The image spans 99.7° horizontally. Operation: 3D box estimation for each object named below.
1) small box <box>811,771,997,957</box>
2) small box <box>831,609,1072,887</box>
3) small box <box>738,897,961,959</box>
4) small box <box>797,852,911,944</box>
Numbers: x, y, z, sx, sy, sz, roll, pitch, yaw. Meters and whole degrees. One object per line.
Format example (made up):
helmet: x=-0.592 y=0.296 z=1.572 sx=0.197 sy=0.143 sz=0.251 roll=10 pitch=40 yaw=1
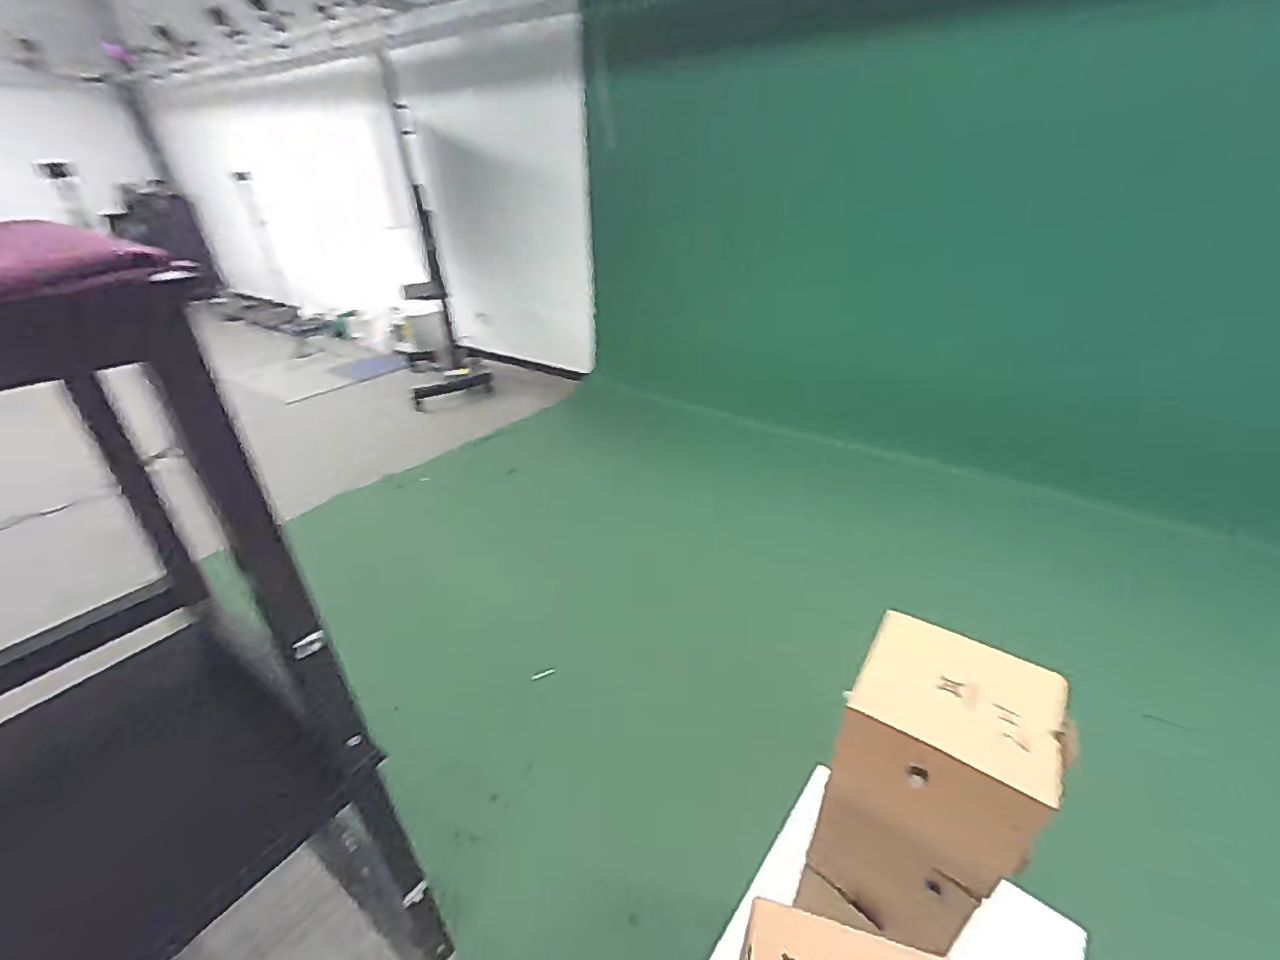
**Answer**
small box: x=0.331 y=0.419 z=0.661 sx=0.179 sy=0.176 sz=0.168 roll=26 pitch=39 yaw=36
small box: x=0.322 y=0.278 z=0.578 sx=0.179 sy=0.176 sz=0.168 roll=20 pitch=37 yaw=30
small box: x=0.140 y=0.411 z=0.340 sx=0.179 sy=0.176 sz=0.168 roll=8 pitch=38 yaw=14
small box: x=0.332 y=0.557 z=0.747 sx=0.168 sy=0.176 sz=0.179 roll=24 pitch=39 yaw=35
